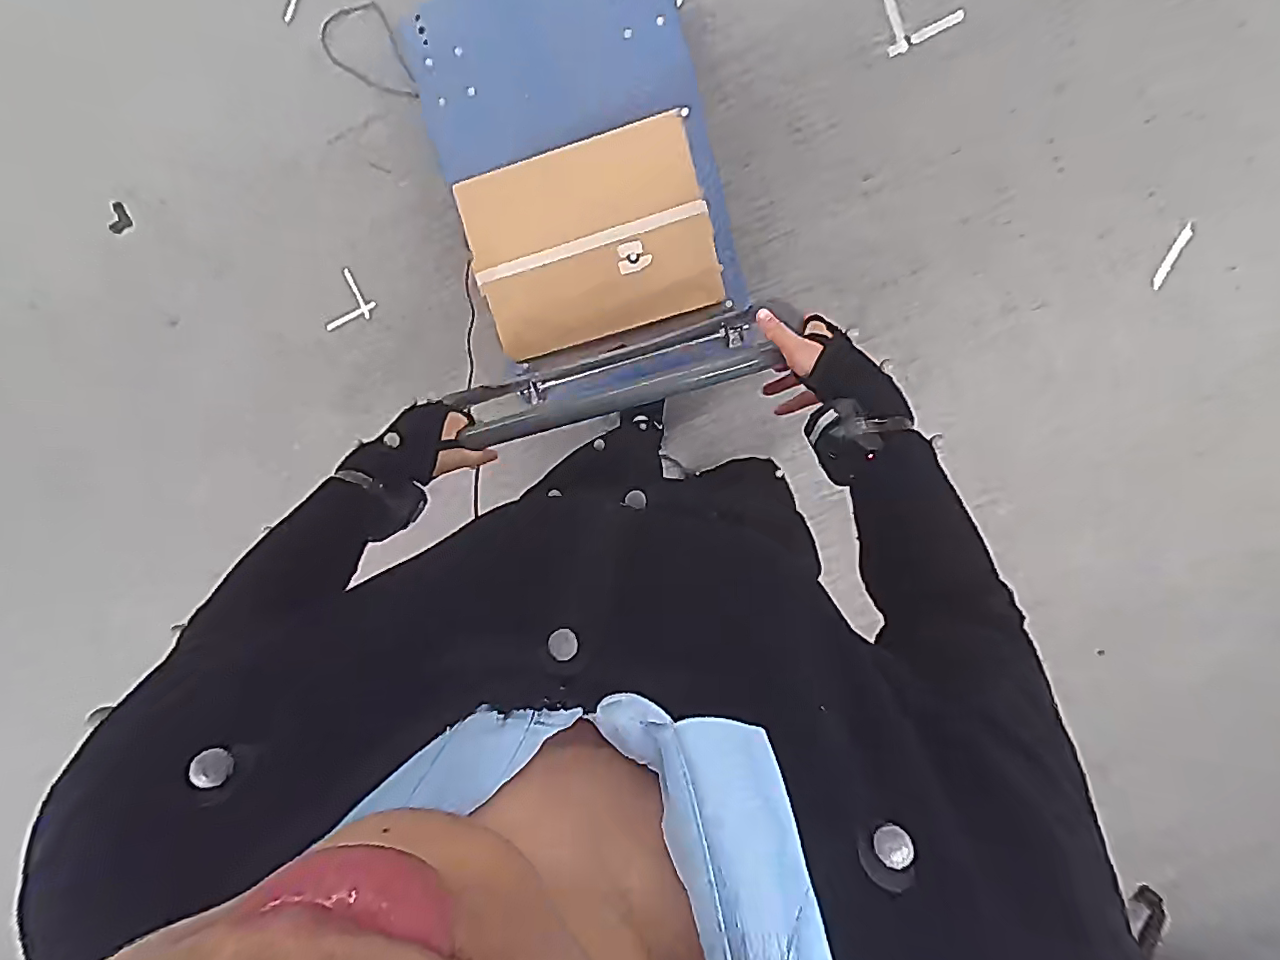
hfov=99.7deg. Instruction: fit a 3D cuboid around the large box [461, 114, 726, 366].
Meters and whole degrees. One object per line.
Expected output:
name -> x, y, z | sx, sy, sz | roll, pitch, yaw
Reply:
large box -> -0.073, -0.435, 1.080 | 0.408, 0.320, 0.320 | -15, 101, 6
